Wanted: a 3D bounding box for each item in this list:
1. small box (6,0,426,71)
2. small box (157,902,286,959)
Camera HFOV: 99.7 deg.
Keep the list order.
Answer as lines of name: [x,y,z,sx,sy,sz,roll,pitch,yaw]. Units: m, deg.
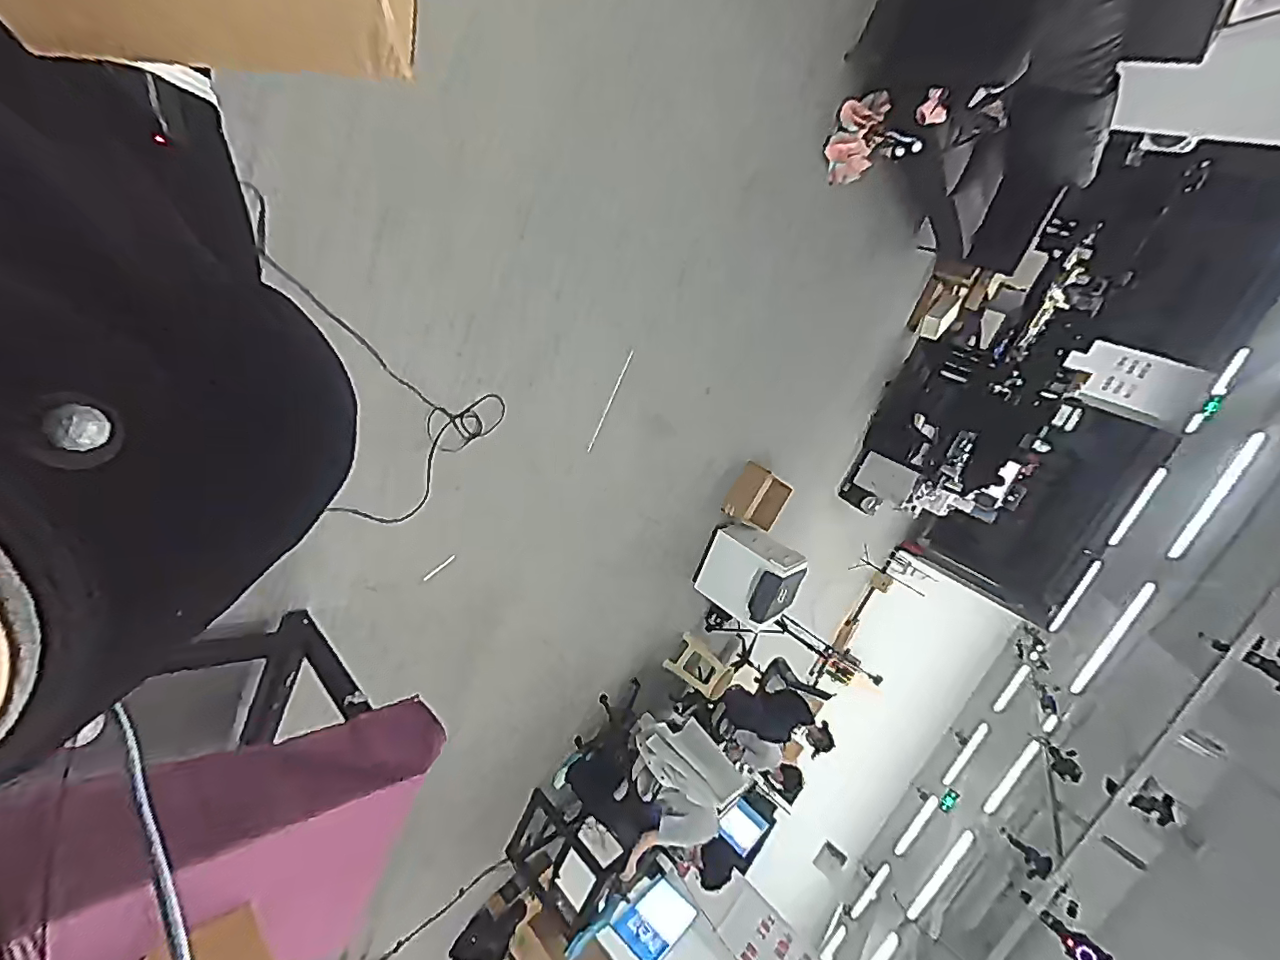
small box: [-0.180,-0.297,0.189,0.176,0.168,0.179,120,-32,-76]
small box: [-0.815,0.982,1.046,0.179,0.176,0.168,6,113,-54]
